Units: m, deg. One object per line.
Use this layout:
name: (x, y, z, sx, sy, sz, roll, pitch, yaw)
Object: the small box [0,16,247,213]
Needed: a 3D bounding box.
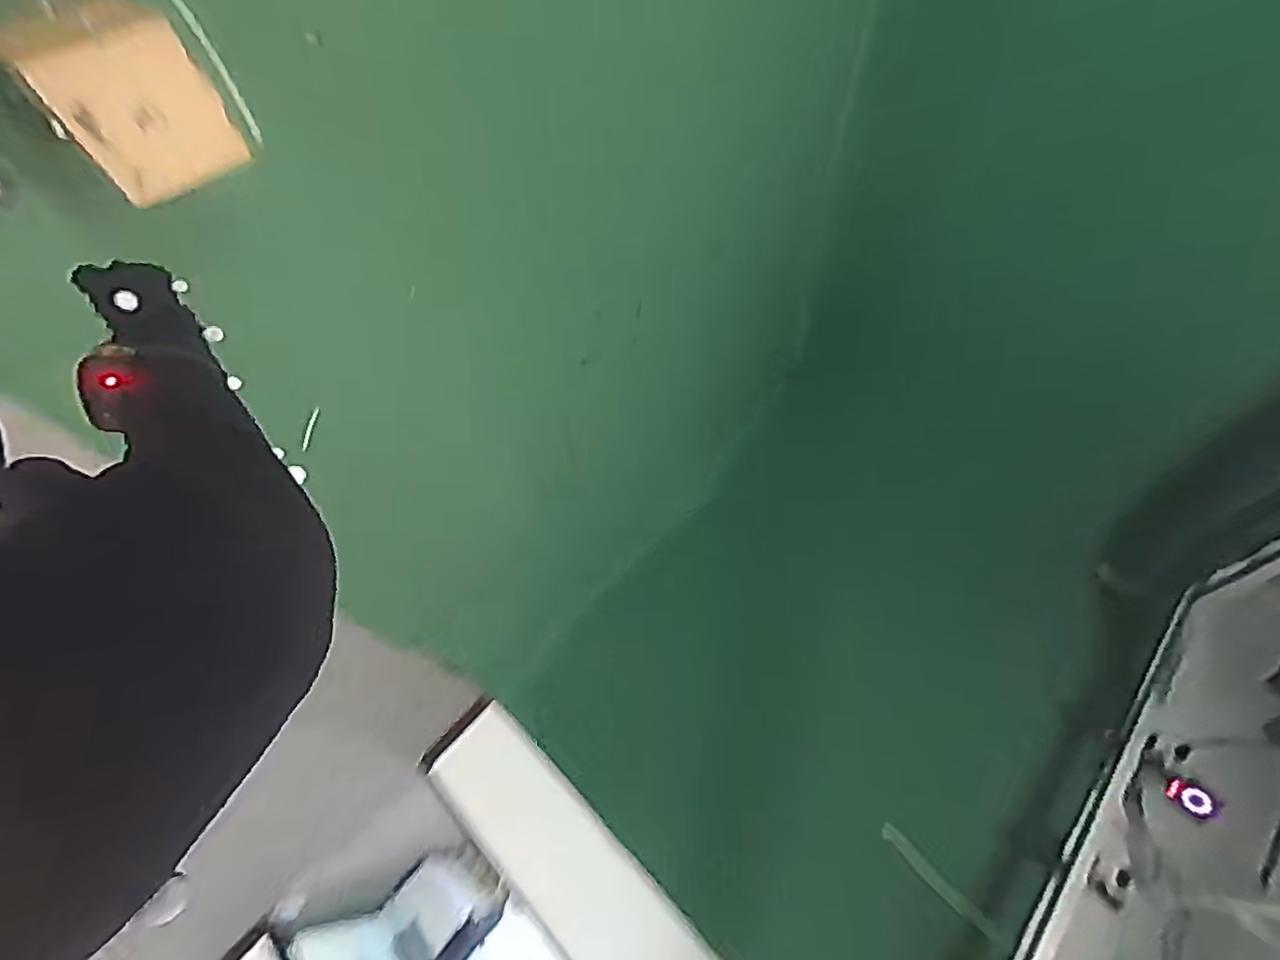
small box: (-0.714, -0.511, 0.751, 0.179, 0.176, 0.168, -44, 152, -22)
